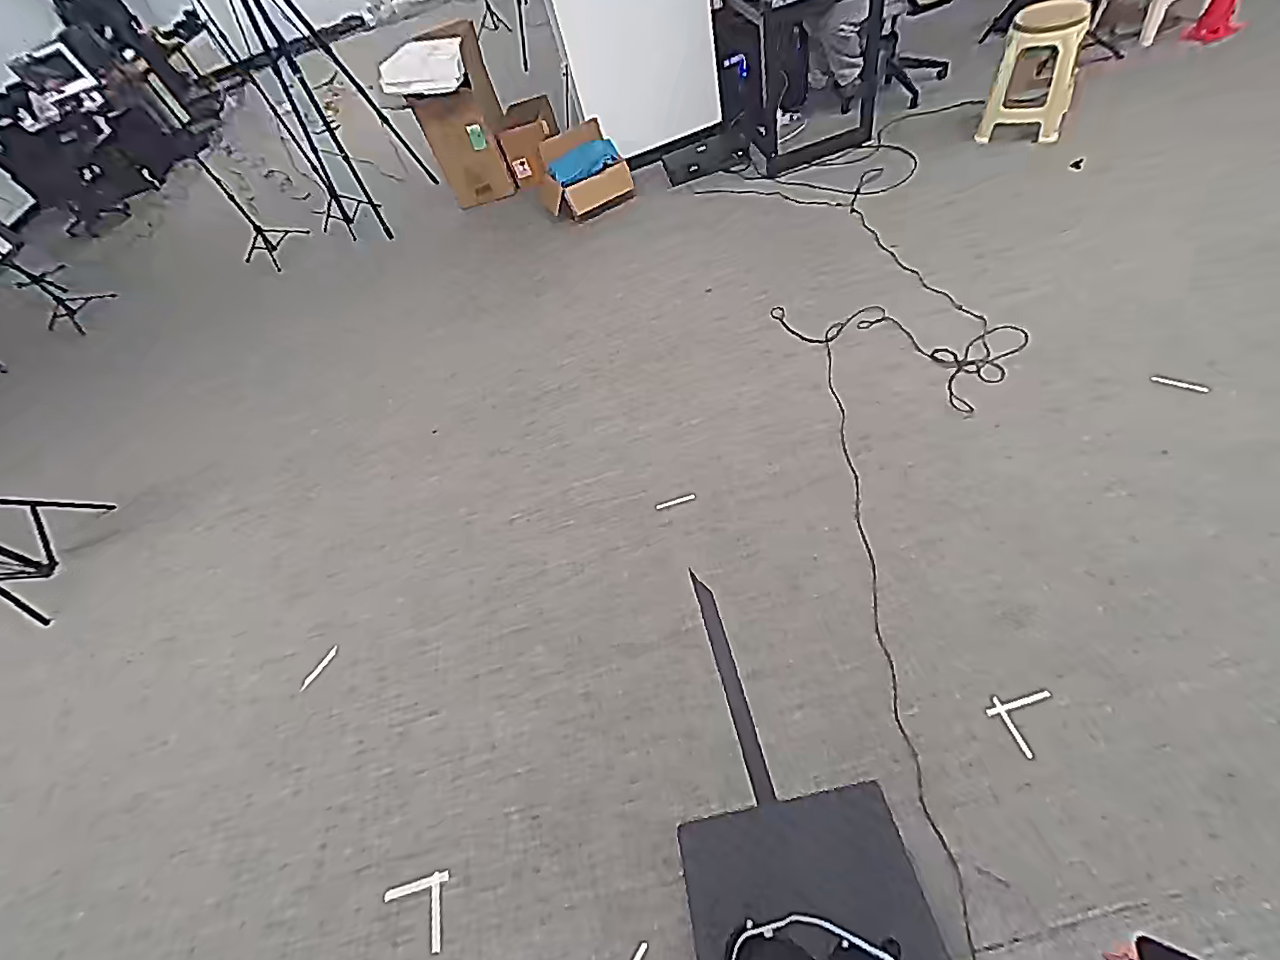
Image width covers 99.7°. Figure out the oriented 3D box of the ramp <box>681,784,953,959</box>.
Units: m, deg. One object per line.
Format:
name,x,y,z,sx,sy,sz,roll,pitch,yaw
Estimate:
ramp,0.386,1.103,0.918,0.509,0.206,0.991,-18,51,5
